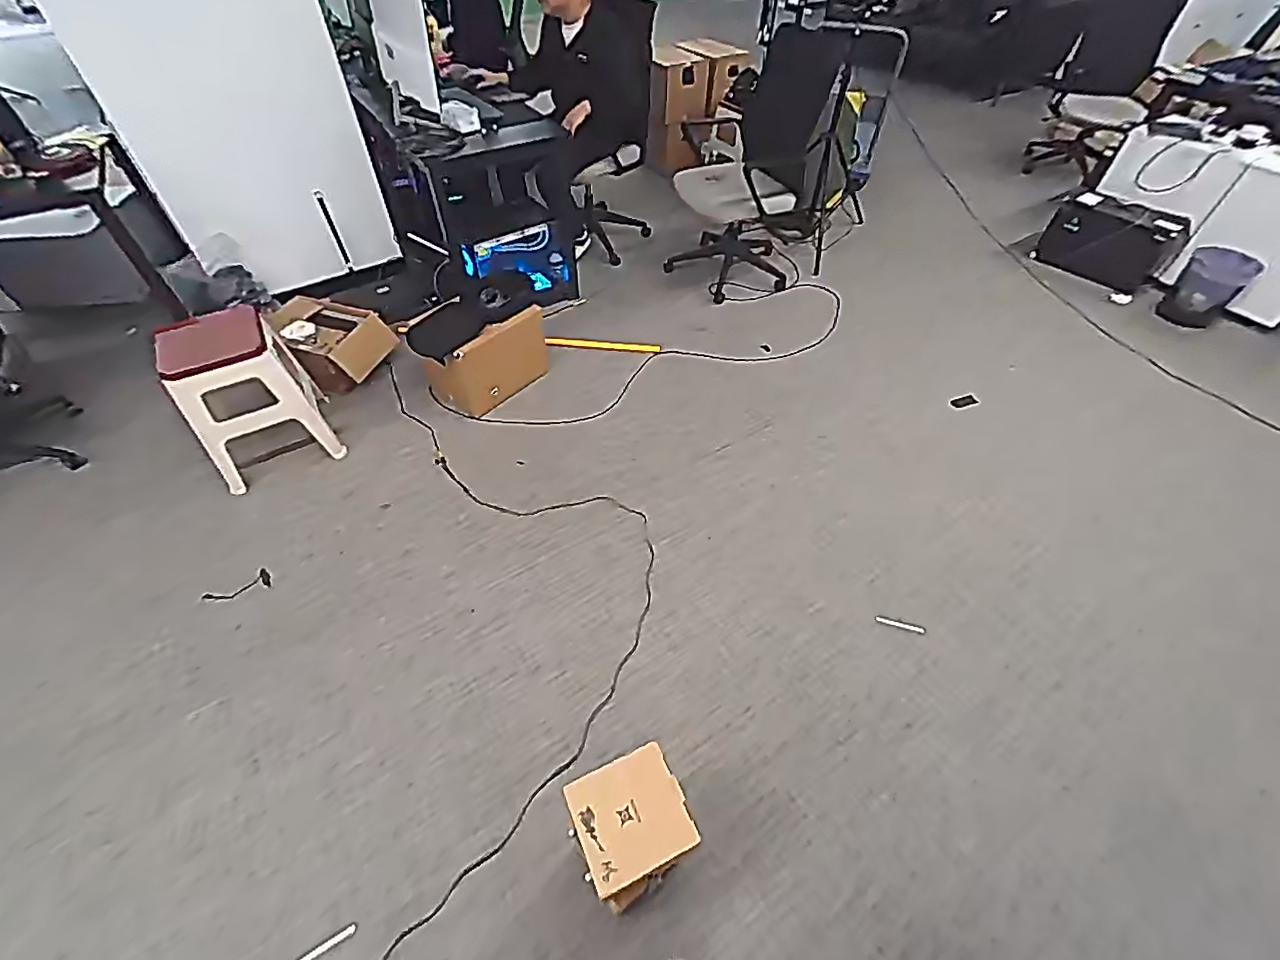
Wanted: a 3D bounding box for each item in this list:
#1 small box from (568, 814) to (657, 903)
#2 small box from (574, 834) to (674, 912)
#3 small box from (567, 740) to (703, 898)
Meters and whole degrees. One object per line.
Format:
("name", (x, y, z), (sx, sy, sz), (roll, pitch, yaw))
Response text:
("small box", (-0.020, 0.689, 1.061), (0.179, 0.176, 0.168), (-32, 58, -26))
("small box", (-0.026, 0.798, 1.182), (0.179, 0.176, 0.168), (-30, 56, -22))
("small box", (-0.015, 0.585, 0.934), (0.179, 0.176, 0.168), (-19, 53, -18))
